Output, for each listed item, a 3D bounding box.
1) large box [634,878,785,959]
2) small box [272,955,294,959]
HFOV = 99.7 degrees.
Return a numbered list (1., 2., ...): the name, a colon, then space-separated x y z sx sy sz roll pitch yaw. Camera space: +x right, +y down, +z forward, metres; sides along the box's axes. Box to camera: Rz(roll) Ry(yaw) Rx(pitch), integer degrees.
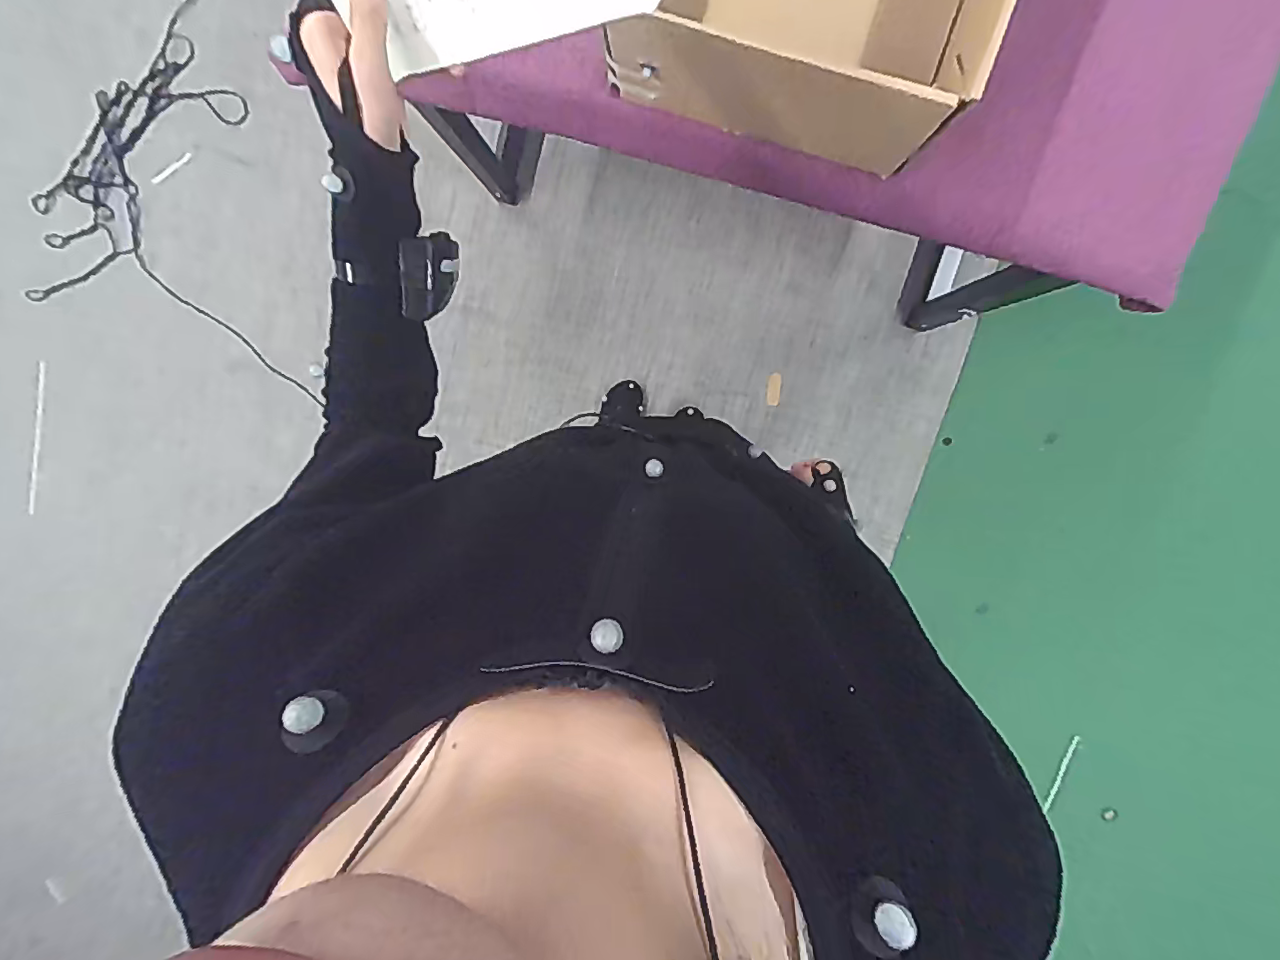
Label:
1. large box: 0.187 1.409 1.546 0.408 0.320 0.320 2 99 2
2. small box: -0.944 1.354 1.354 0.168 0.176 0.179 -44 92 9
